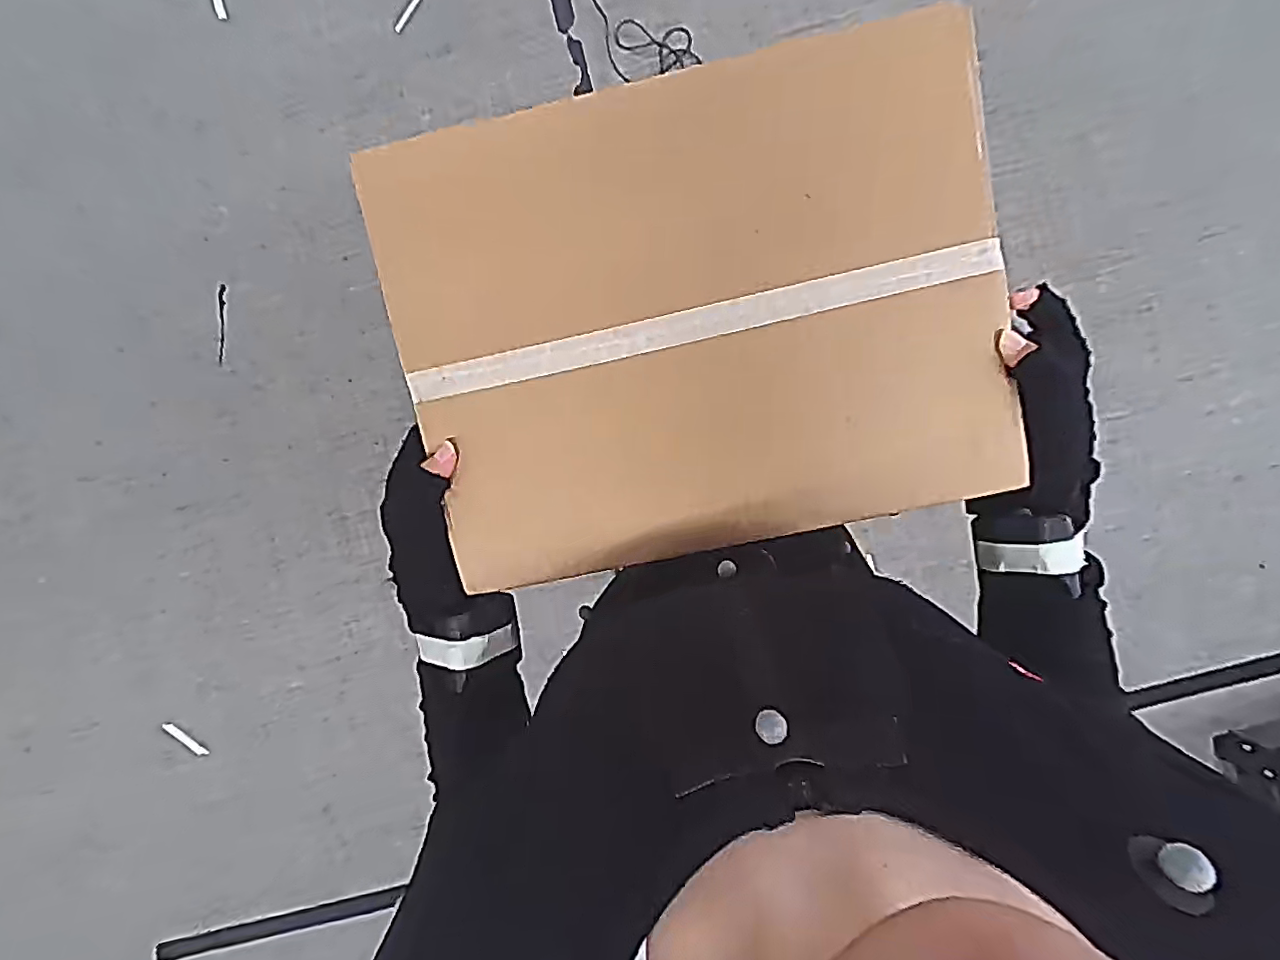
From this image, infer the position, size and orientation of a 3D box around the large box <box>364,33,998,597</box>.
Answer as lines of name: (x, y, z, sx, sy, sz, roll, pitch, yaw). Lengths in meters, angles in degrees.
large box: (0.039, -0.121, 0.527, 0.408, 0.320, 0.320, -12, 97, 4)
